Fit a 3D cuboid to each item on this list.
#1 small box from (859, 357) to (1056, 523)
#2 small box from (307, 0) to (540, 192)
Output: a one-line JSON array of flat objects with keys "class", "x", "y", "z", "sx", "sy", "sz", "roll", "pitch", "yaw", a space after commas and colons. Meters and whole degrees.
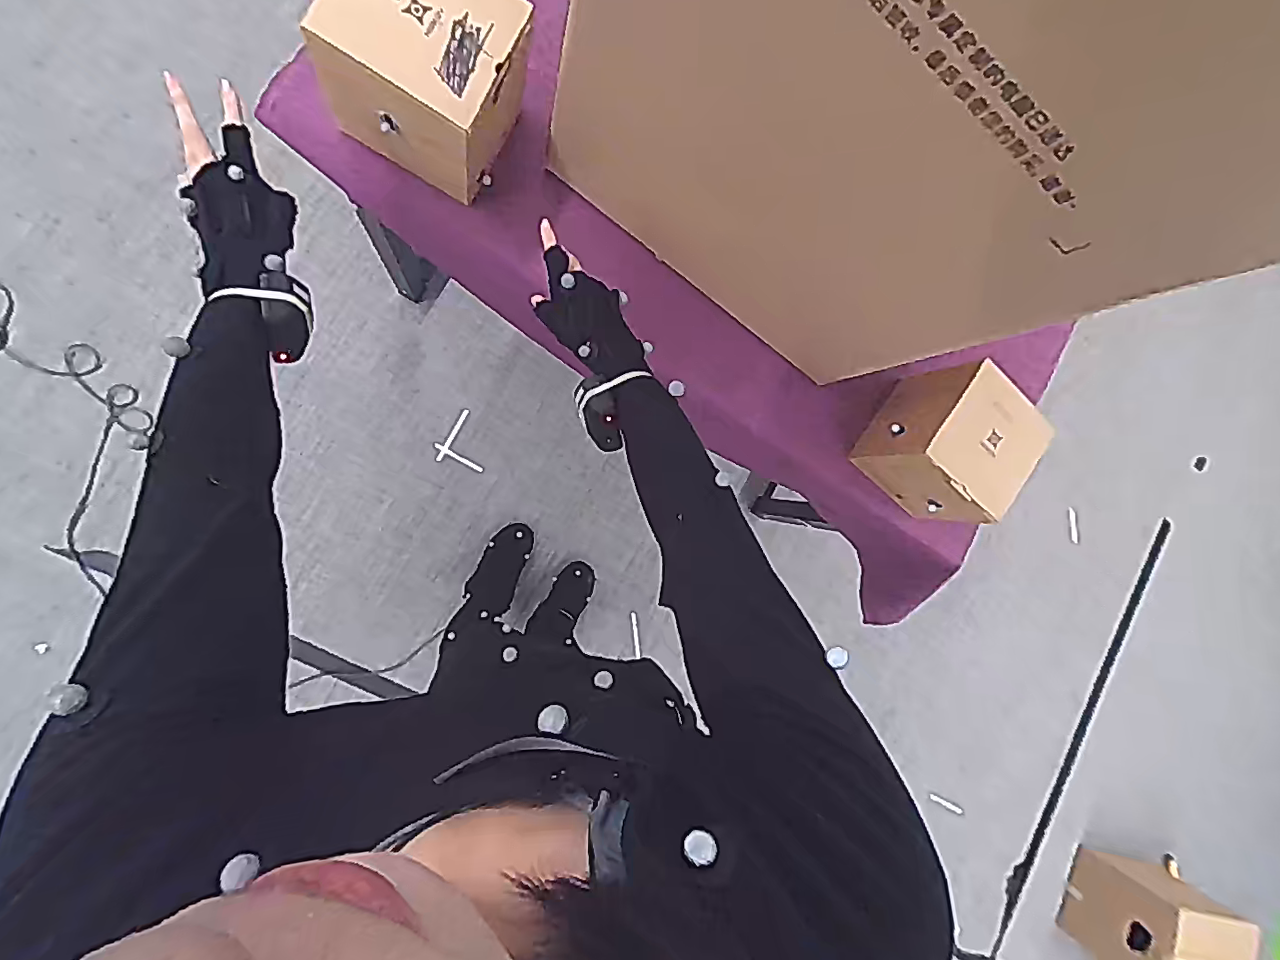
[{"class": "small box", "x": 0.472, "y": -0.055, "z": 0.831, "sx": 0.168, "sy": 0.176, "sz": 0.179, "roll": 39, "pitch": 80, "yaw": -13}, {"class": "small box", "x": -0.238, "y": -0.476, "z": 0.630, "sx": 0.179, "sy": 0.176, "sz": 0.168, "roll": 27, "pitch": 82, "yaw": -15}]
